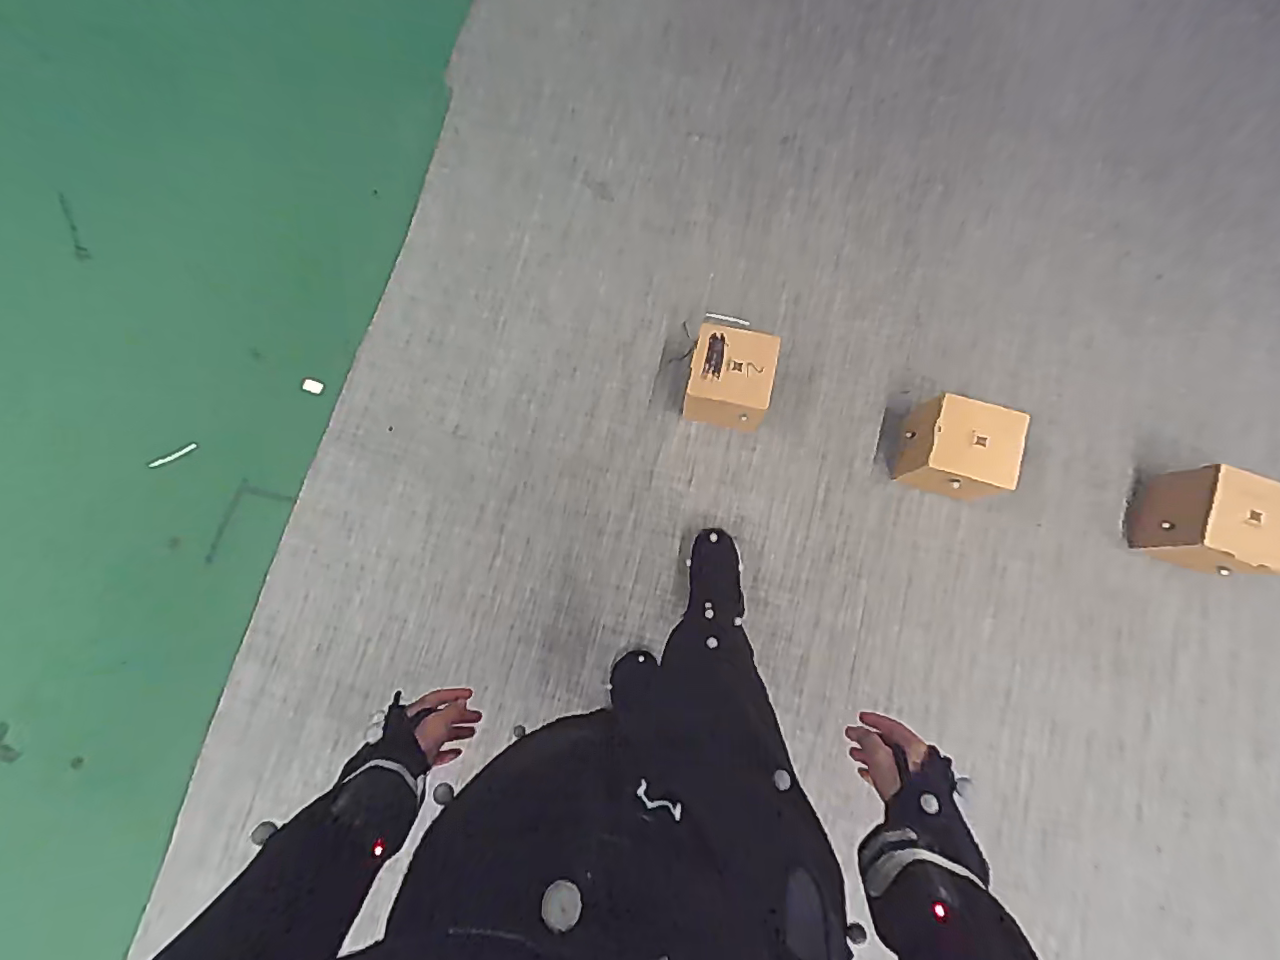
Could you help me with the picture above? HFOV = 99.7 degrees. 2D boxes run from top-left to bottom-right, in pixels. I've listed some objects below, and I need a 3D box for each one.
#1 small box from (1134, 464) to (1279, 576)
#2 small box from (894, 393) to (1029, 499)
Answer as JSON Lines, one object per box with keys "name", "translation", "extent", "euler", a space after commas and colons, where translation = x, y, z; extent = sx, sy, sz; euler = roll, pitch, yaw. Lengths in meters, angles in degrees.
{"name": "small box", "translation": [1.180, 0.089, 1.113], "extent": [0.168, 0.176, 0.179], "euler": [21, 80, 5]}
{"name": "small box", "translation": [0.682, -0.064, 1.162], "extent": [0.179, 0.176, 0.168], "euler": [17, 81, 6]}
